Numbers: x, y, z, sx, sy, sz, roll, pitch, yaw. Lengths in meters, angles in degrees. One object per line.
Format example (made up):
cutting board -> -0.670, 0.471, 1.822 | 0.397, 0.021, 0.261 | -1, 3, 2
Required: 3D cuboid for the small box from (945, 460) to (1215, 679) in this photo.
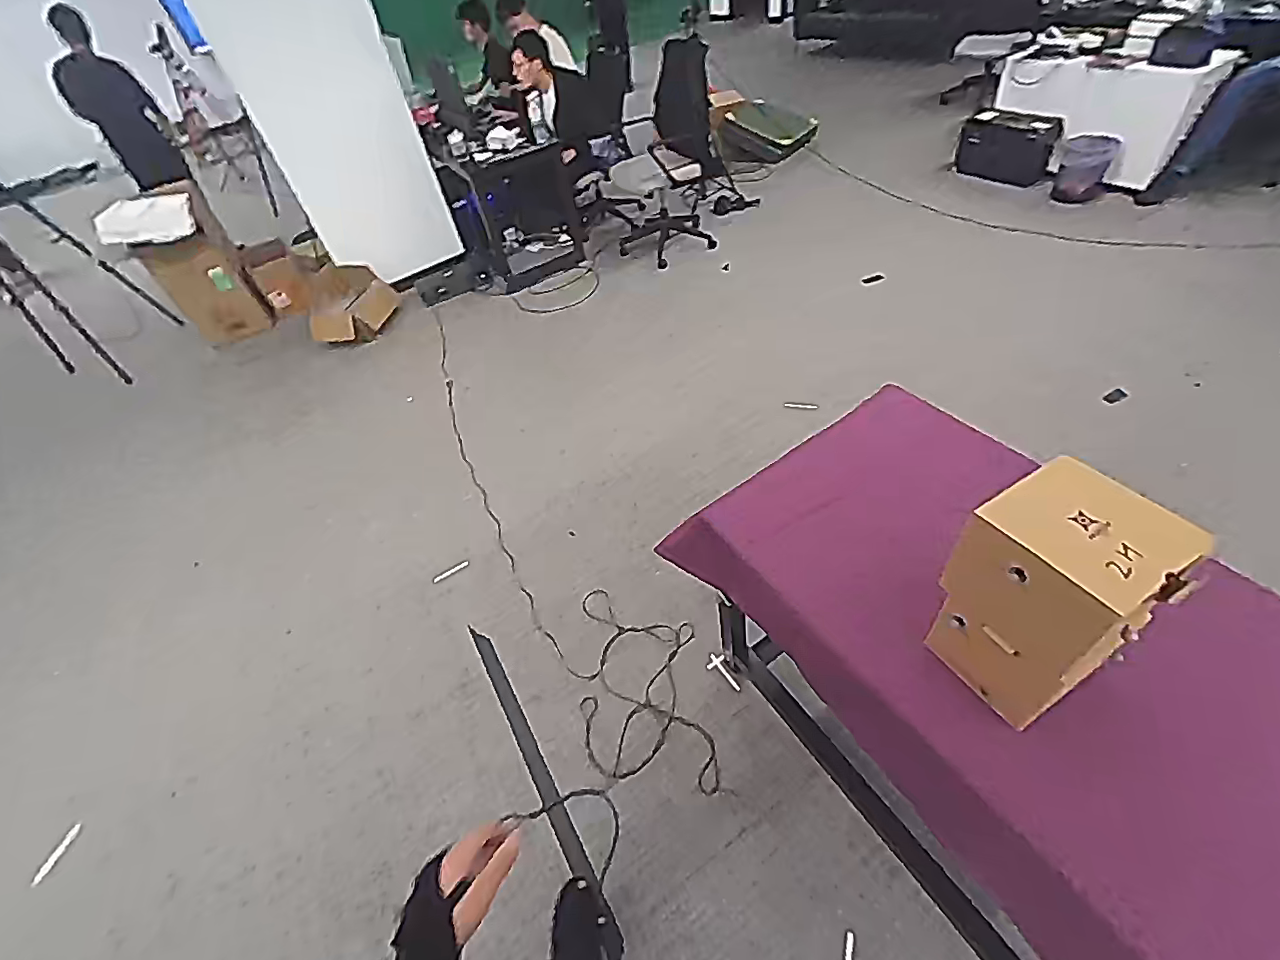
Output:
small box -> 0.527, 0.112, 0.681 | 0.168, 0.176, 0.179 | -27, 48, -13
